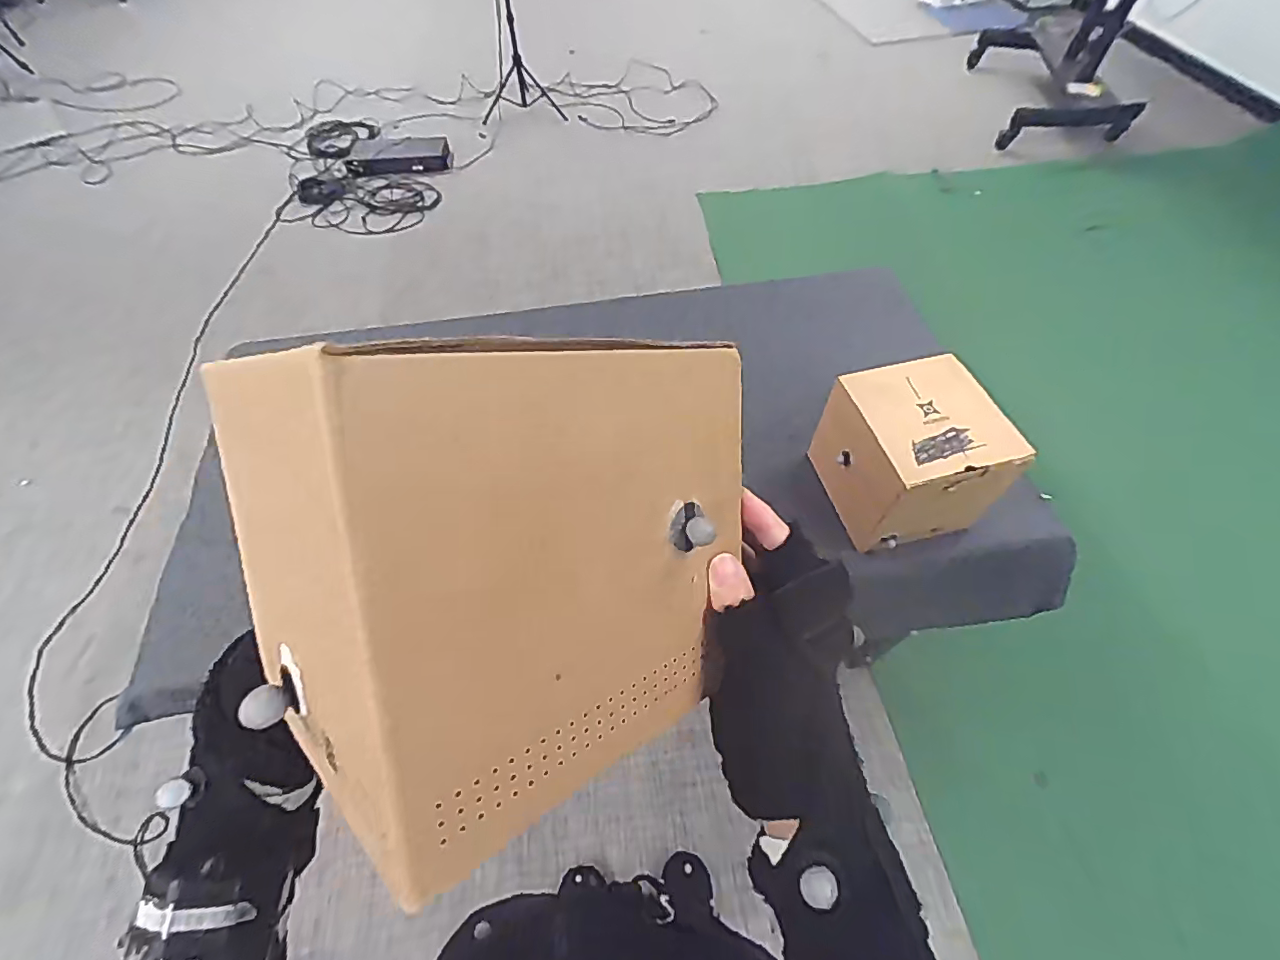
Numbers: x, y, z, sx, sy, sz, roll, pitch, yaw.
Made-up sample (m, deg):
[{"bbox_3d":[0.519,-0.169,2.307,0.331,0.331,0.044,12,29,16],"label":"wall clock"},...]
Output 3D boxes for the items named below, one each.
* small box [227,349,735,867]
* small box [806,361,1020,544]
[{"bbox_3d":[-0.069,0.026,0.268,0.168,0.176,0.179,8,16,43],"label":"small box"},{"bbox_3d":[0.347,-0.028,0.728,0.168,0.176,0.179,-11,56,-7],"label":"small box"}]
